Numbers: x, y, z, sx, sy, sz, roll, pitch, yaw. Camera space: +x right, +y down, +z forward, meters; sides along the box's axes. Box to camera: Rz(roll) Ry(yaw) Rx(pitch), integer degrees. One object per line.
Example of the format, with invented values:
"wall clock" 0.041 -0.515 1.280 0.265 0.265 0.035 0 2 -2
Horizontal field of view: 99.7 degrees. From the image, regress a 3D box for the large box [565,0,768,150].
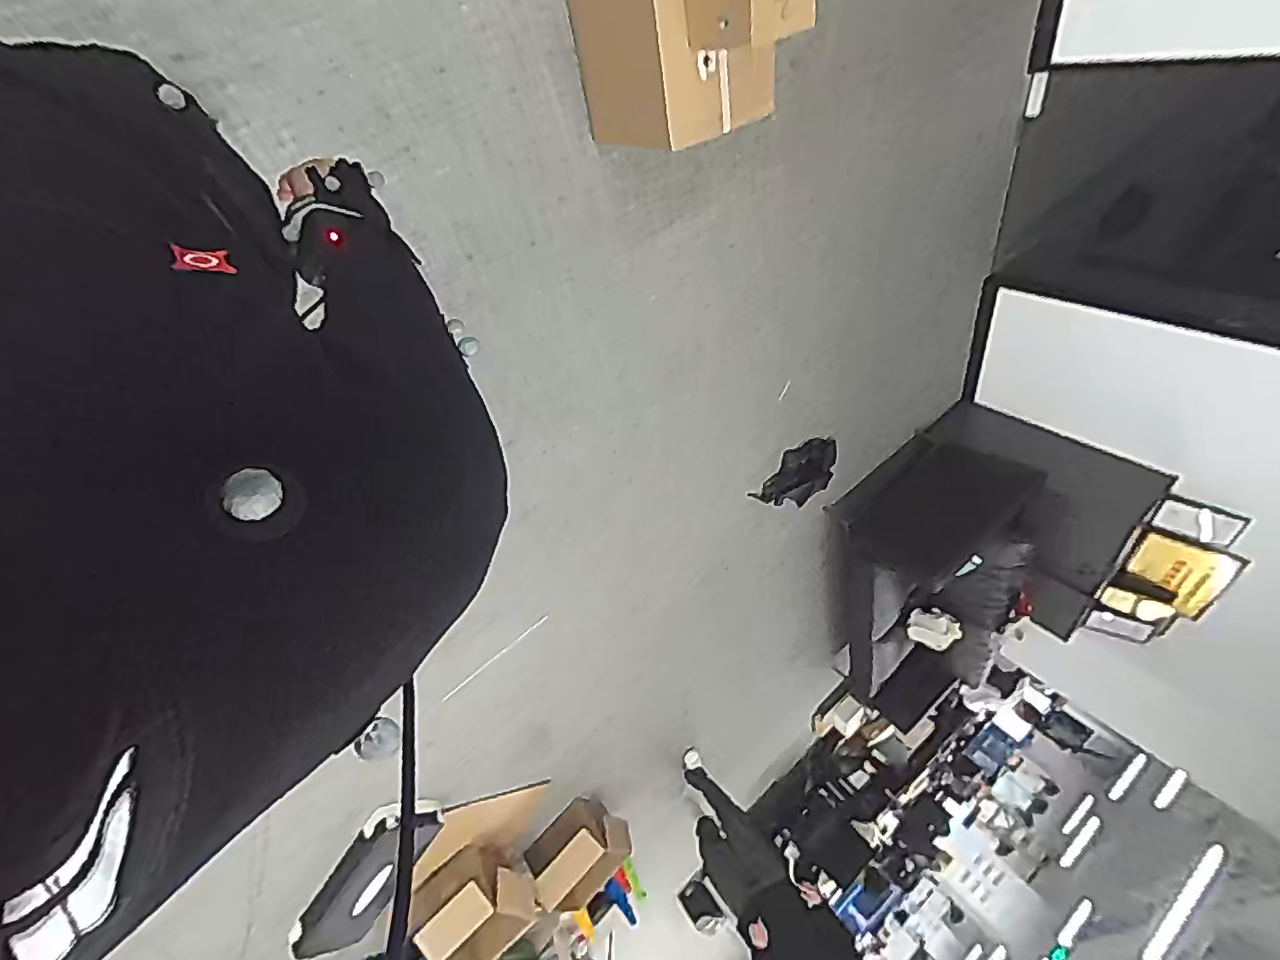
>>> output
"large box" 0.055 -0.989 1.159 0.320 0.320 0.408 -32 137 -20
